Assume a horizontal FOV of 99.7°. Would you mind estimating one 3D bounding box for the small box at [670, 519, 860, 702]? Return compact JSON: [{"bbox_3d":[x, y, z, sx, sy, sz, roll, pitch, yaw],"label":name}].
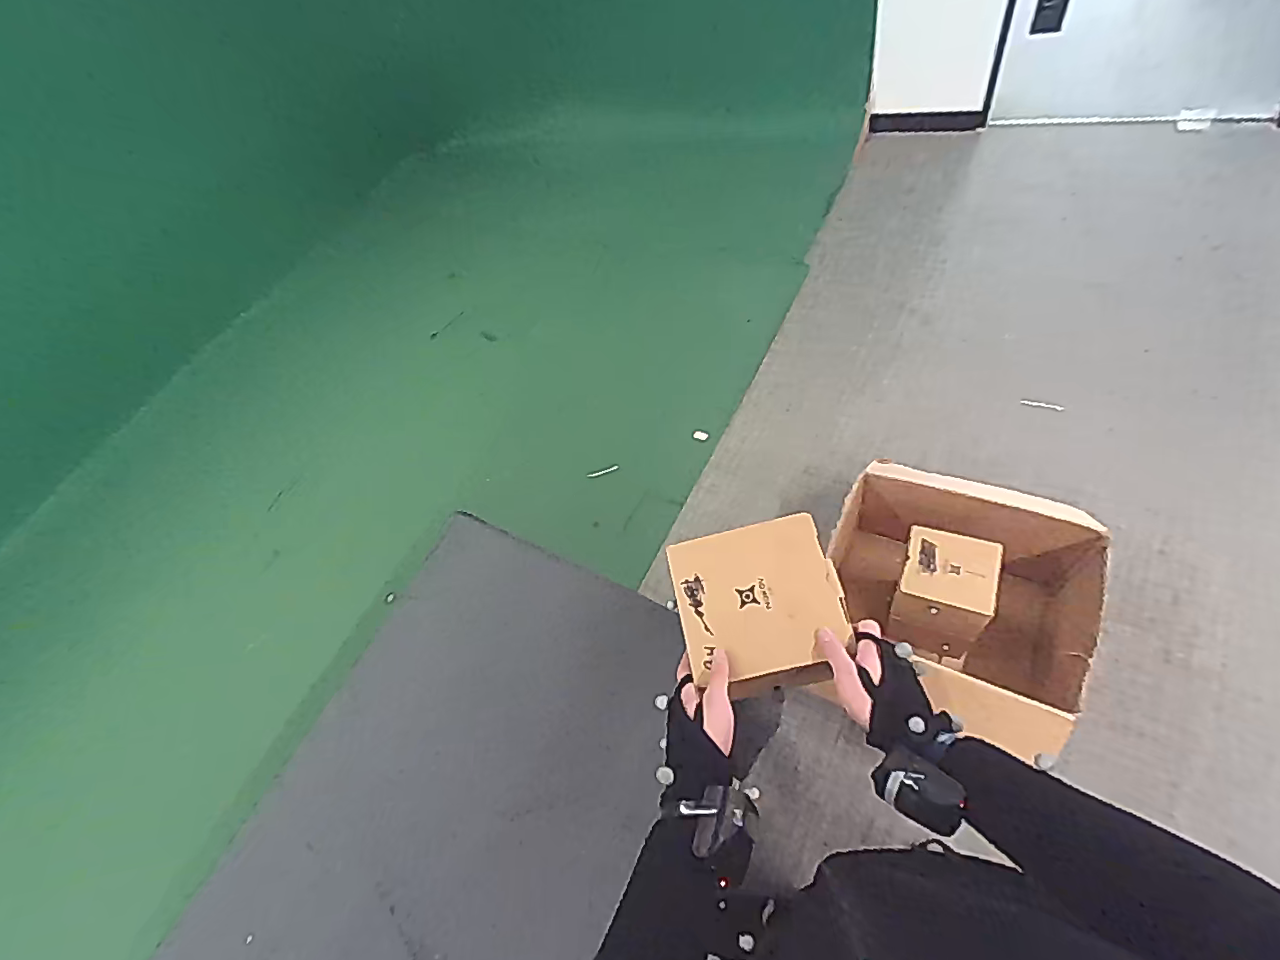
[{"bbox_3d":[0.148,0.171,0.679,0.179,0.176,0.168,-16,61,4],"label":"small box"}]
